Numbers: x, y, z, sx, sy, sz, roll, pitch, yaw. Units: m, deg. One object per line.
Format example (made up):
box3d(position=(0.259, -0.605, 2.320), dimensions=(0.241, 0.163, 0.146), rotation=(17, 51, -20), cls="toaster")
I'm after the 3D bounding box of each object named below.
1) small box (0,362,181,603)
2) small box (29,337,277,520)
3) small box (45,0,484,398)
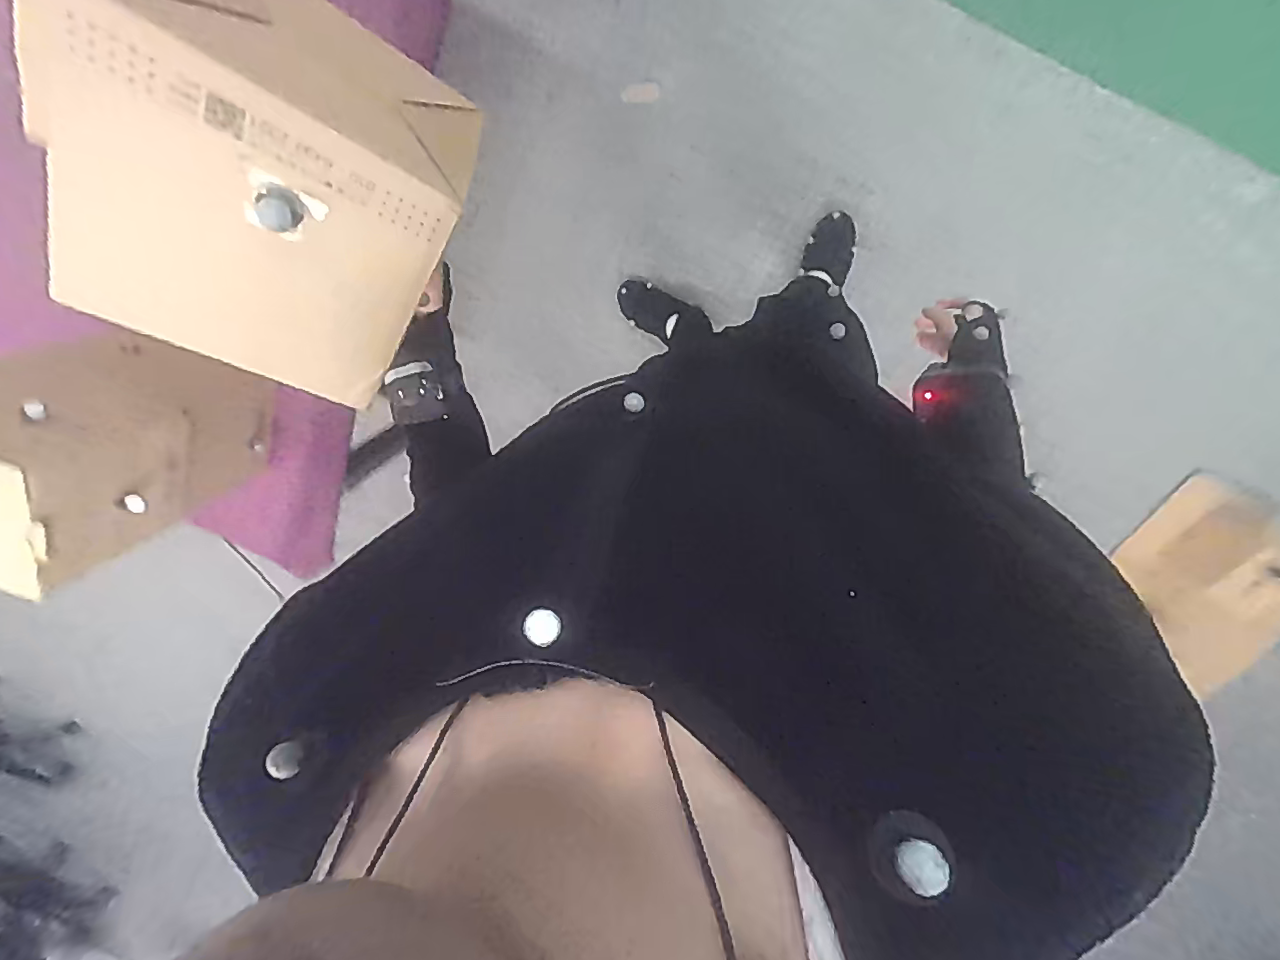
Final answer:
box3d(position=(-0.641, -0.008, 0.575), dimensions=(0.179, 0.176, 0.168), rotation=(24, 114, -6), cls="small box")
box3d(position=(-0.635, -0.079, 0.723), dimensions=(0.179, 0.176, 0.168), rotation=(23, 115, -5), cls="small box")
box3d(position=(-0.208, -0.190, 0.334), dimensions=(0.168, 0.179, 0.176), rotation=(21, 130, -31), cls="small box")
